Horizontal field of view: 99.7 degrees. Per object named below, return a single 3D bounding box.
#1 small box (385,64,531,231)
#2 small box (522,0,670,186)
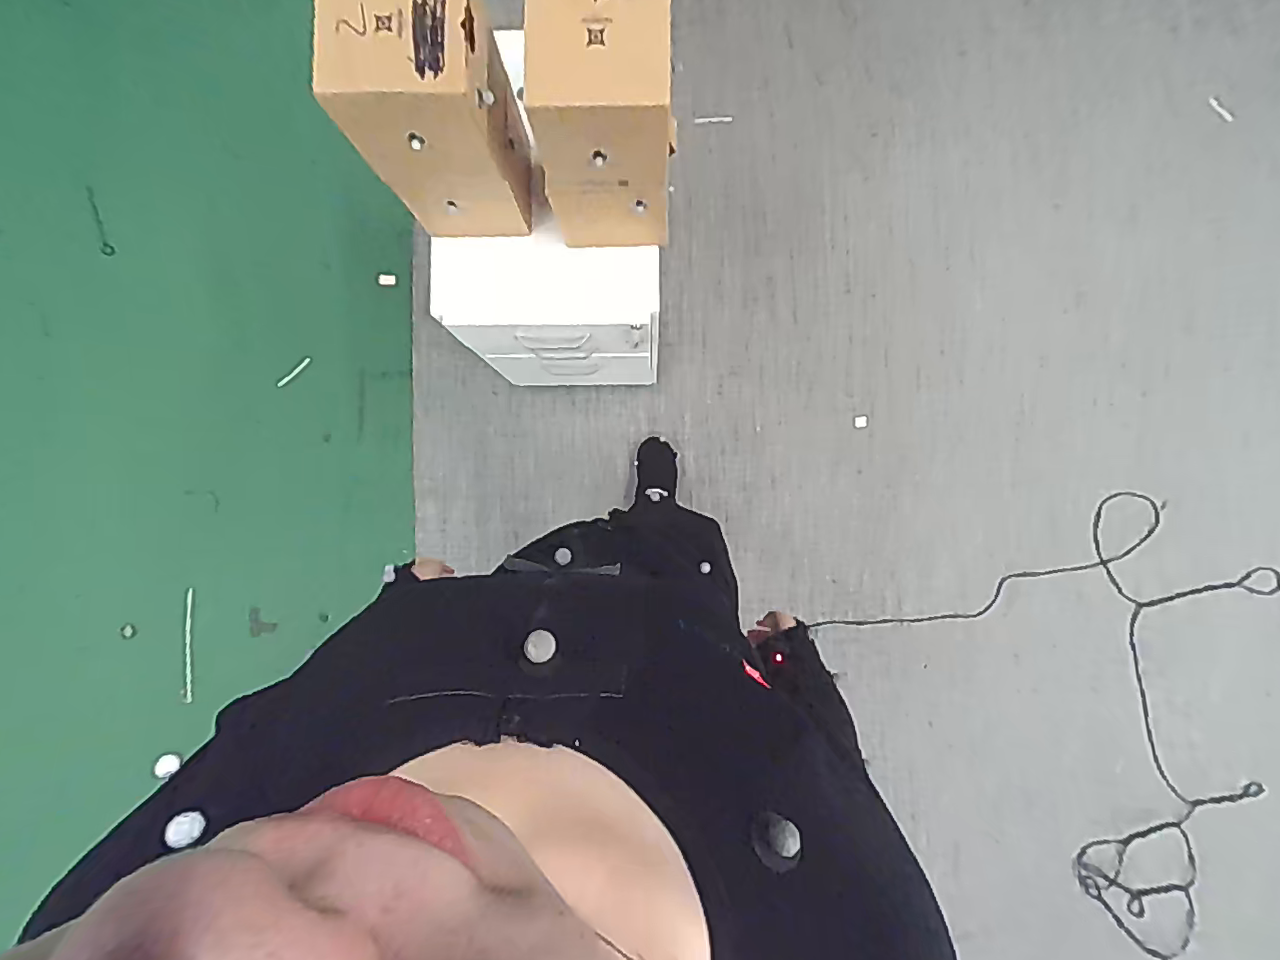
[{"bbox_3d":[-0.276,-0.510,0.850,0.179,0.176,0.168,-1,88,-1],"label":"small box"},{"bbox_3d":[-0.047,-0.498,0.681,0.168,0.176,0.179,1,88,1],"label":"small box"}]
